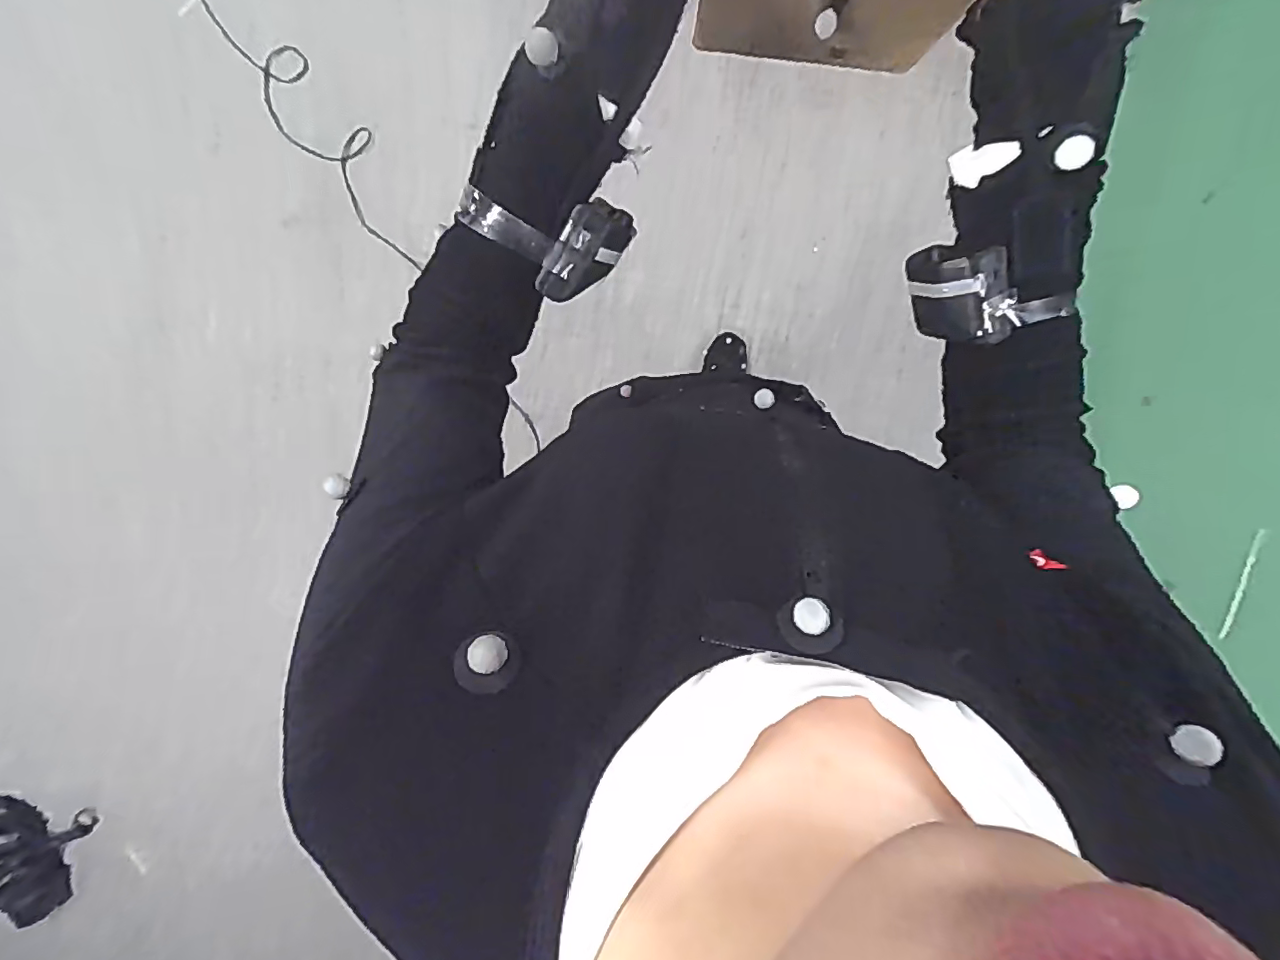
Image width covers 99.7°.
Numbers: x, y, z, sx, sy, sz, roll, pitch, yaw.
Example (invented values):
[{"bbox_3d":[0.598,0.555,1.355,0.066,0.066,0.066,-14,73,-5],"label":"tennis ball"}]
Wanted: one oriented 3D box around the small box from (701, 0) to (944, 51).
[{"bbox_3d":[0.126,-0.385,0.308,0.168,0.176,0.179,6,107,1],"label":"small box"}]
